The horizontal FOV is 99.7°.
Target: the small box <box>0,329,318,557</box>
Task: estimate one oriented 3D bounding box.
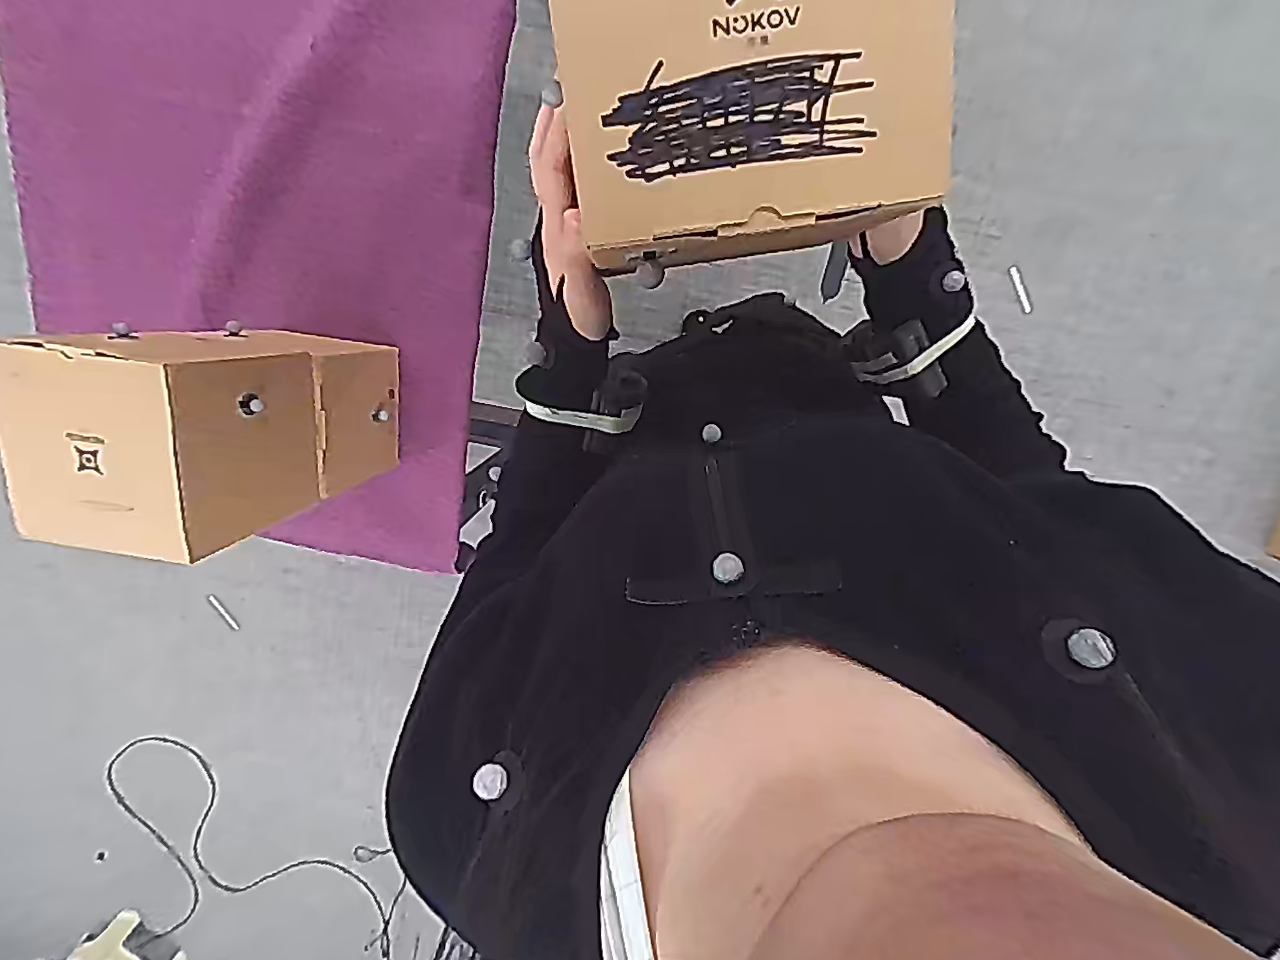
[{"bbox_3d":[-0.446,-0.049,0.526,0.168,0.176,0.179,8,108,4],"label":"small box"}]

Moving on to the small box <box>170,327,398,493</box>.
[{"bbox_3d":[-0.432,-0.097,0.680,0.179,0.176,0.168,9,108,2],"label":"small box"}]
